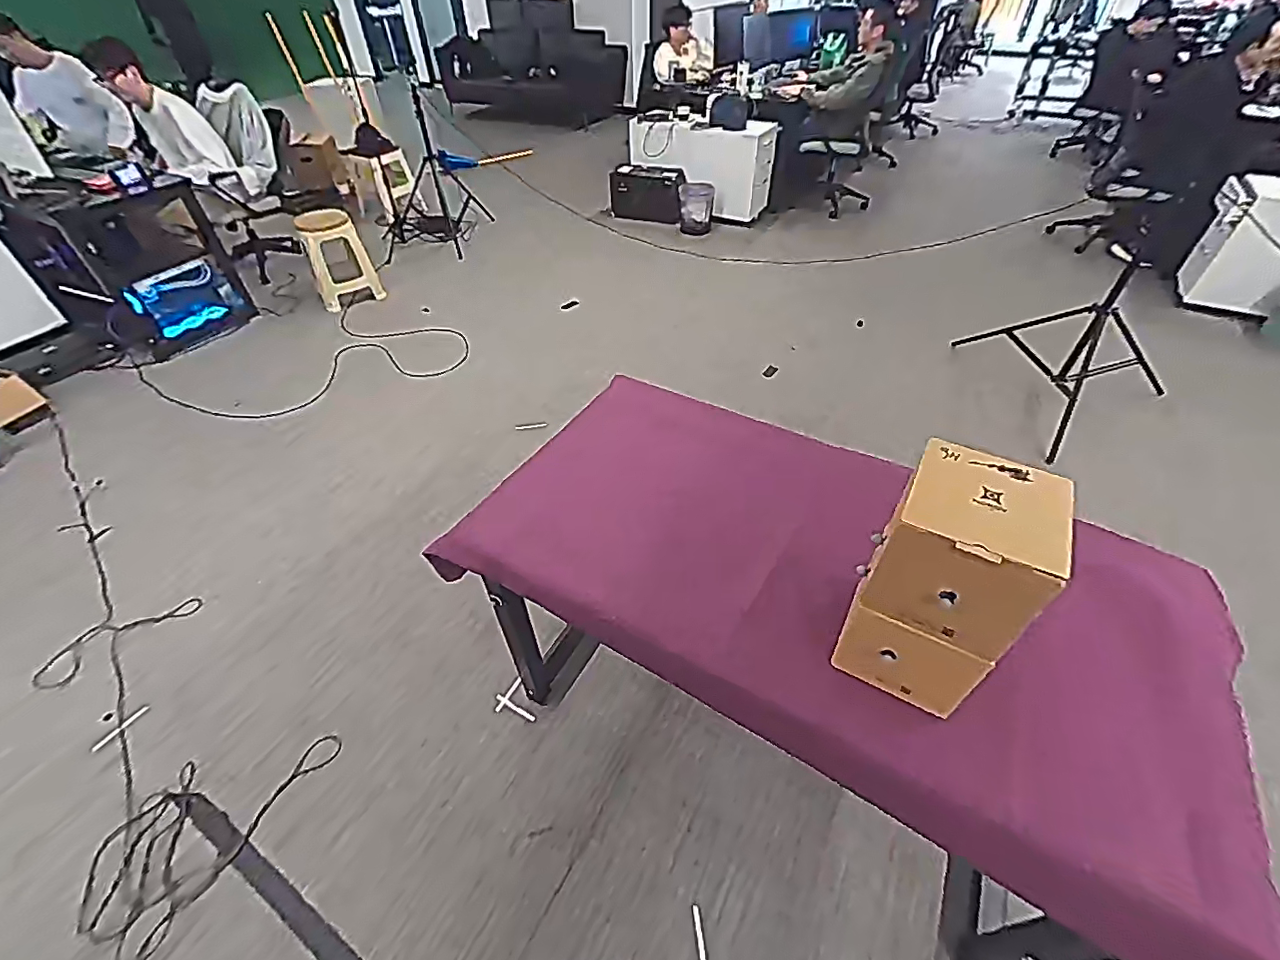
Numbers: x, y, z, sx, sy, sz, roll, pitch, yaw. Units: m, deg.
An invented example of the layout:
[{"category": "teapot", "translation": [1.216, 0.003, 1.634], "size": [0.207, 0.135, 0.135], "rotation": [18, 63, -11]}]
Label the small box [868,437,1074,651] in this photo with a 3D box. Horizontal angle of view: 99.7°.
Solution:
[{"category": "small box", "translation": [0.405, 0.080, 0.680], "size": [0.168, 0.176, 0.179], "rotation": [23, 49, 23]}]

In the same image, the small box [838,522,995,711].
[{"category": "small box", "translation": [0.405, 0.201, 0.792], "size": [0.168, 0.176, 0.179], "rotation": [22, 48, 22]}]
